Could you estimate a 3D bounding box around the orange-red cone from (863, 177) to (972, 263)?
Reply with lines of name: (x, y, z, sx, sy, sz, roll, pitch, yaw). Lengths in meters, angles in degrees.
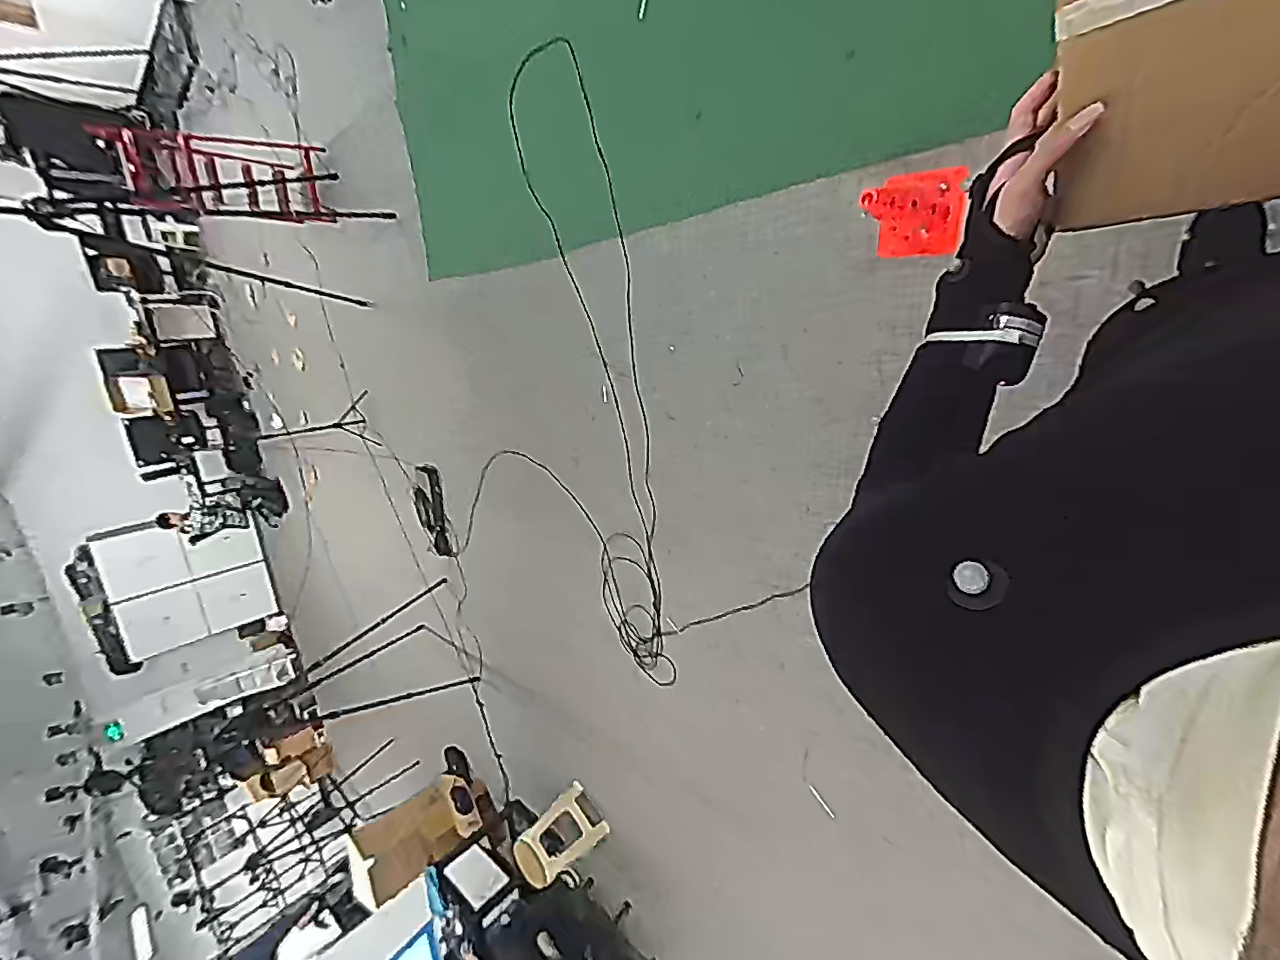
orange-red cone: (0.621, -0.634, 1.293, 0.199, 0.360, 0.198, 18, 115, 41)
